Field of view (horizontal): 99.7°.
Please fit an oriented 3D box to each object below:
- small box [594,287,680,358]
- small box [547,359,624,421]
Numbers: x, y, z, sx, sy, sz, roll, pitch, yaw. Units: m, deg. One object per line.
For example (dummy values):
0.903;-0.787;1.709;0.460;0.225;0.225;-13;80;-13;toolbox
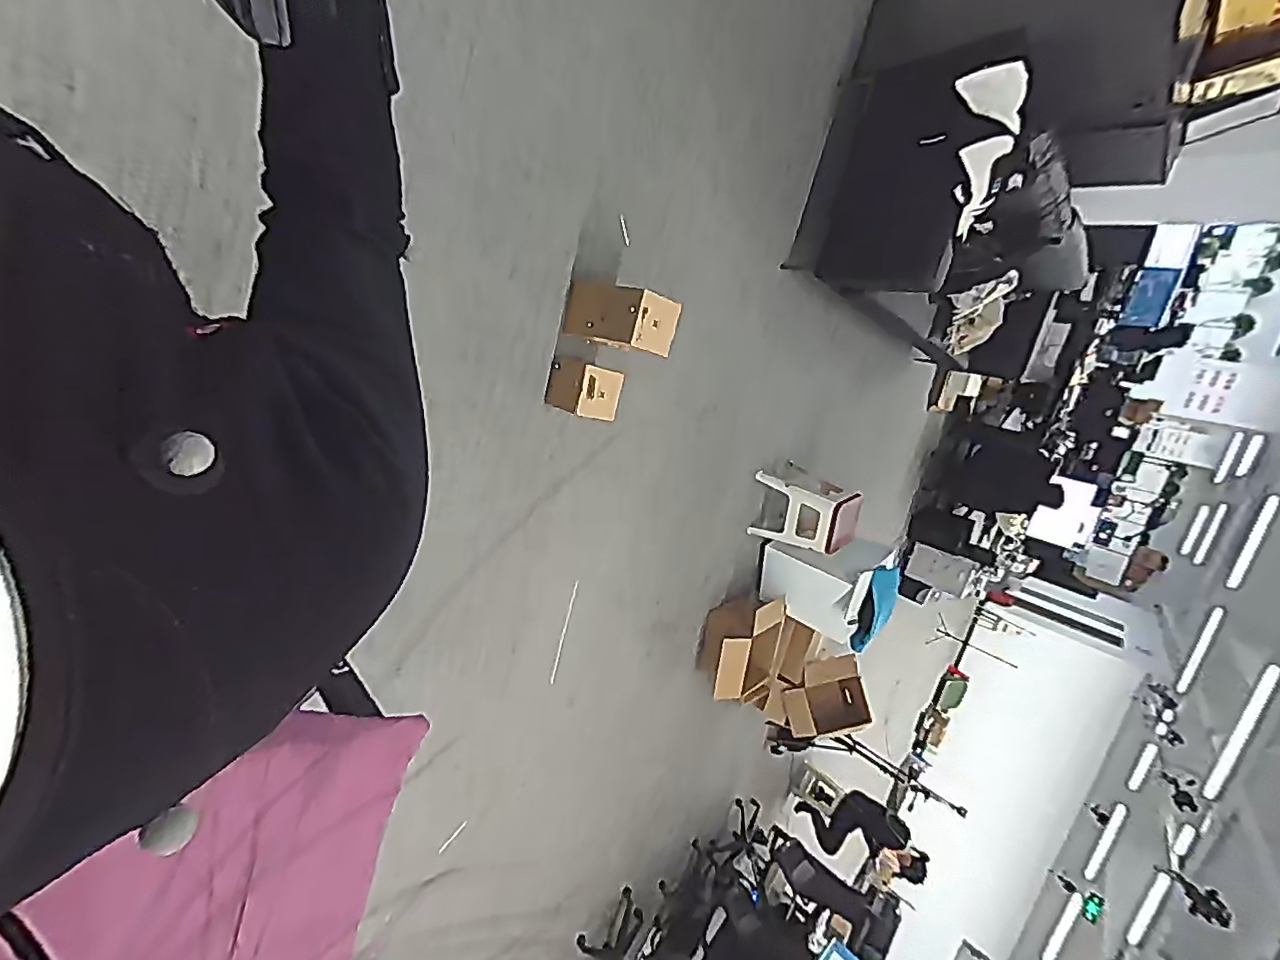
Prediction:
-0.011;-0.491;1.676;0.179;0.176;0.168;4;105;-49;small box
-0.187;-0.305;1.821;0.179;0.176;0.168;3;106;-48;small box
